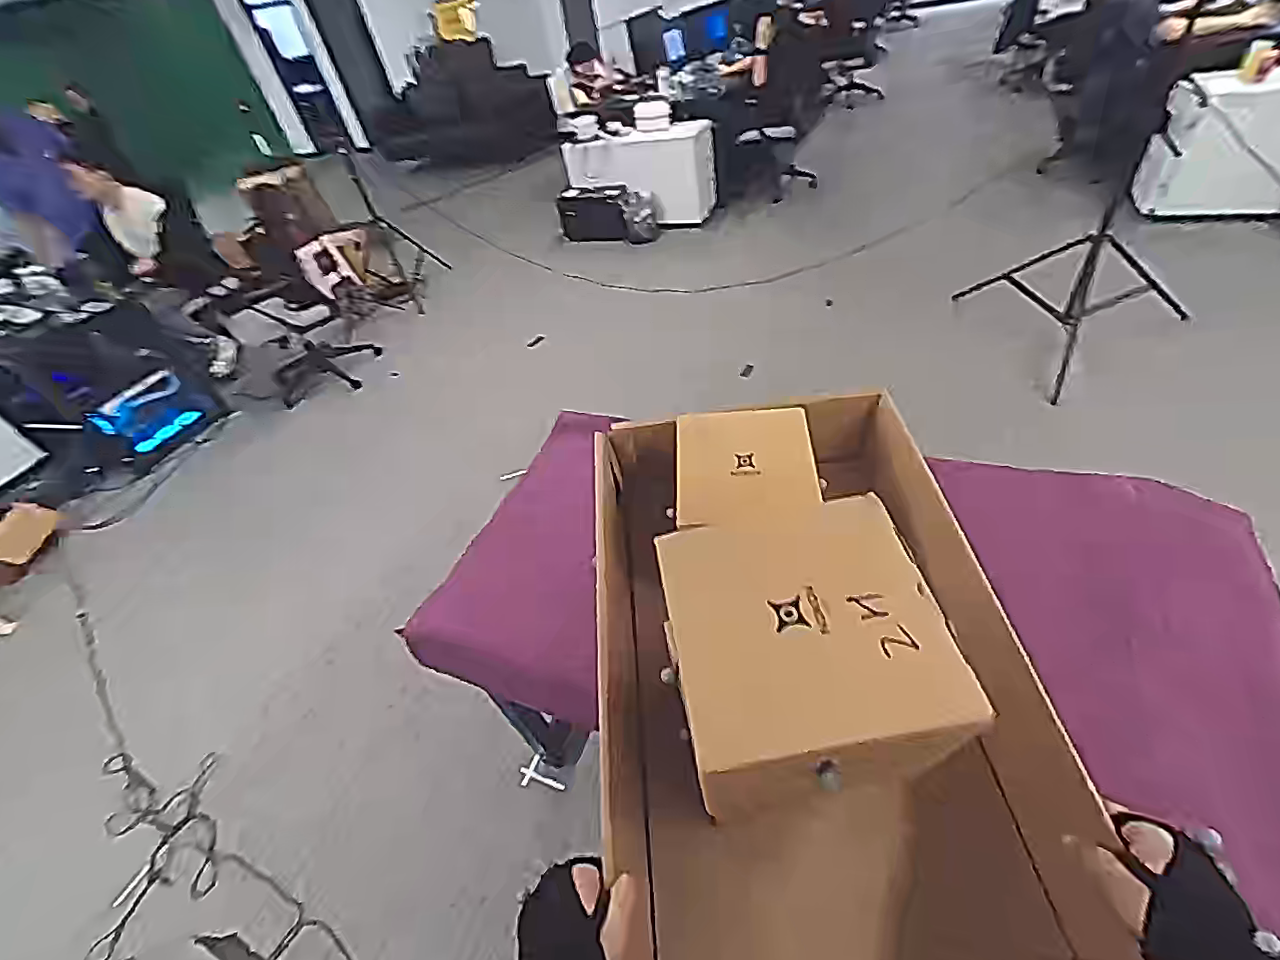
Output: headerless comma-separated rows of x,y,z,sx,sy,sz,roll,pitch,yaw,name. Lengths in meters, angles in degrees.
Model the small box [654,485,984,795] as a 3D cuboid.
0.115,0.131,0.423,0.179,0.176,0.168,-10,51,1,small box
